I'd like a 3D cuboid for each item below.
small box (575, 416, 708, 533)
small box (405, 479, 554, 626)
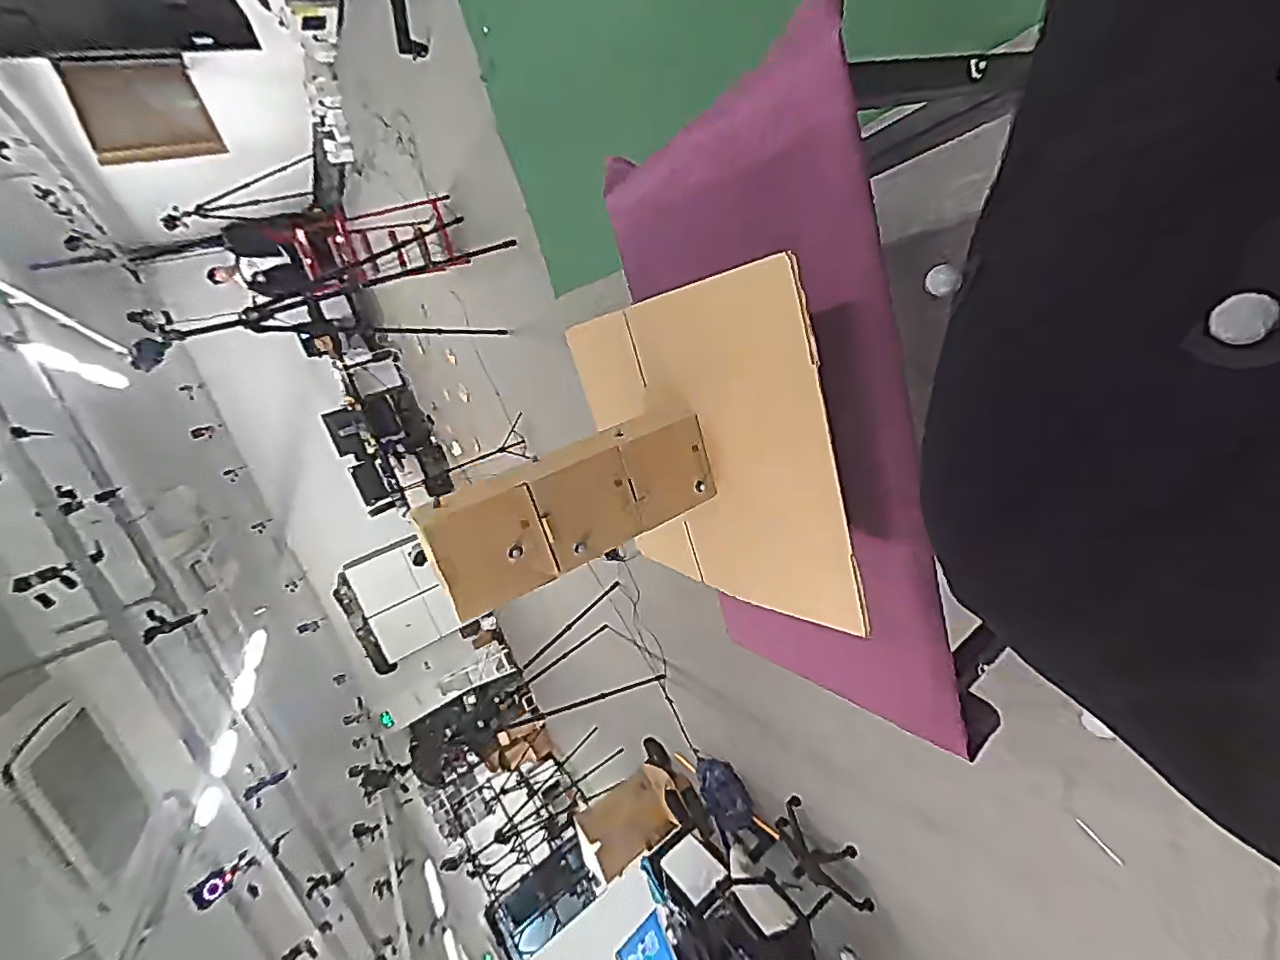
[{"bbox_3d":[0.009,-0.017,1.023,0.179,0.176,0.168,5,117,58],"label":"small box"},{"bbox_3d":[-0.262,0.106,0.883,0.179,0.176,0.168,8,119,60],"label":"small box"}]
